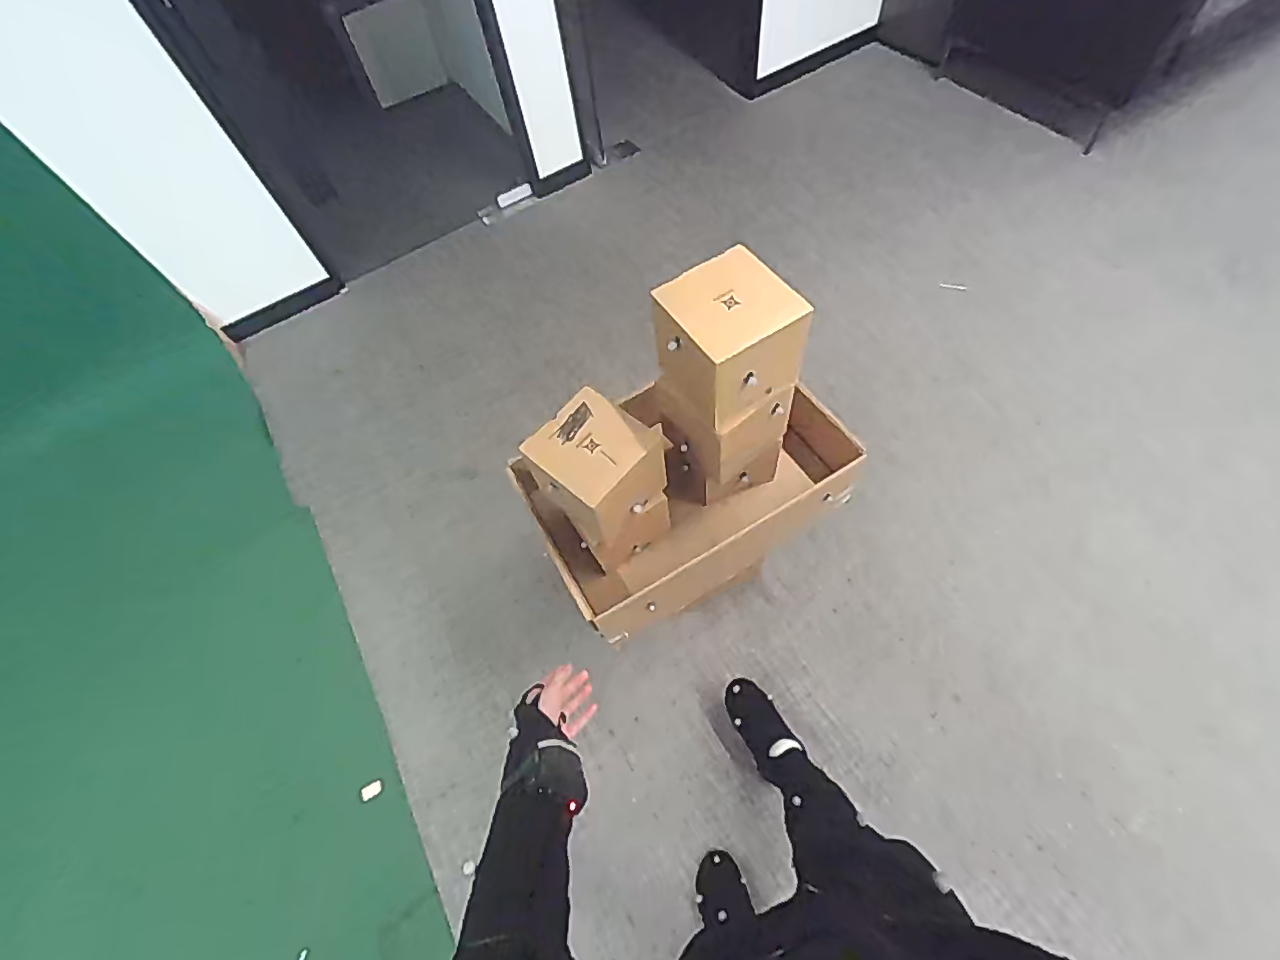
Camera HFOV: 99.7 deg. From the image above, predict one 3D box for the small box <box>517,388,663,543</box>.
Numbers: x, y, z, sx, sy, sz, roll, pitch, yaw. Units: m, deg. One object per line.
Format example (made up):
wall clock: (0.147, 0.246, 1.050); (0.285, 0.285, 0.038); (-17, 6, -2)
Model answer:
small box: (-0.077, -0.019, 0.937); (0.179, 0.176, 0.168); (37, 71, 22)

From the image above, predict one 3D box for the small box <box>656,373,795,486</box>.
small box: (0.148, -0.123, 0.972); (0.179, 0.176, 0.168); (-37, 62, -13)

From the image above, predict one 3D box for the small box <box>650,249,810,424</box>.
small box: (0.135, -0.211, 0.837); (0.168, 0.176, 0.179); (-30, 61, -9)
